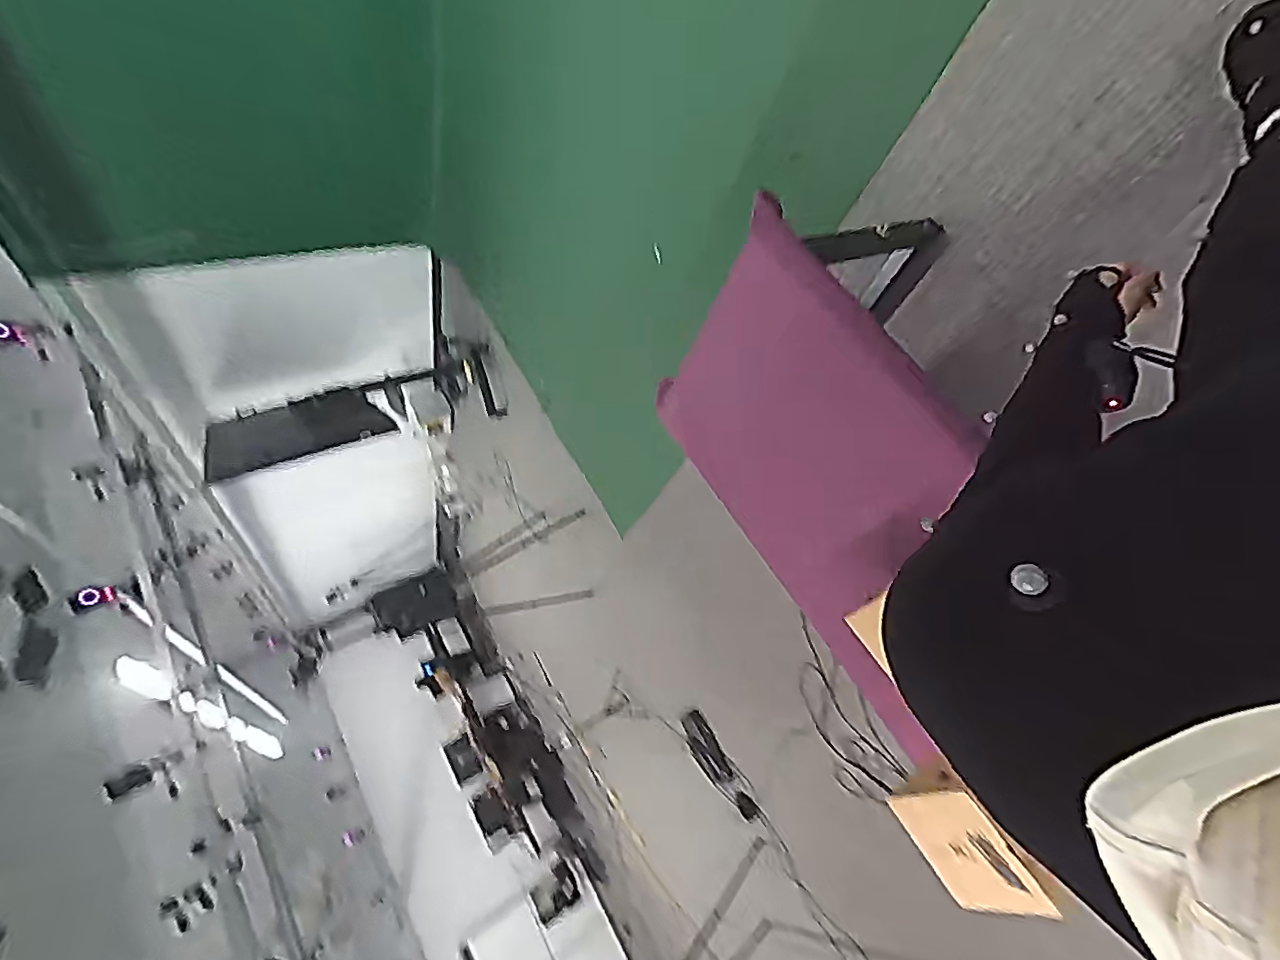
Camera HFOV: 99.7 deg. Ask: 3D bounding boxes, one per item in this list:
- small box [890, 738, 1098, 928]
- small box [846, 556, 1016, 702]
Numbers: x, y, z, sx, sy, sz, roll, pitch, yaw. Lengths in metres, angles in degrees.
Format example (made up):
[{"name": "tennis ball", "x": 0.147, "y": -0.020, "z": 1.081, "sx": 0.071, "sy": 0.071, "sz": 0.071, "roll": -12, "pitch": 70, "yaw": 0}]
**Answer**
[{"name": "small box", "x": 0.524, "y": 0.510, "z": 0.800, "sx": 0.168, "sy": 0.176, "sz": 0.179, "roll": 56, "pitch": 147, "yaw": 21}, {"name": "small box", "x": 0.520, "y": 0.266, "z": 0.973, "sx": 0.168, "sy": 0.176, "sz": 0.179, "roll": 54, "pitch": 146, "yaw": 21}]
